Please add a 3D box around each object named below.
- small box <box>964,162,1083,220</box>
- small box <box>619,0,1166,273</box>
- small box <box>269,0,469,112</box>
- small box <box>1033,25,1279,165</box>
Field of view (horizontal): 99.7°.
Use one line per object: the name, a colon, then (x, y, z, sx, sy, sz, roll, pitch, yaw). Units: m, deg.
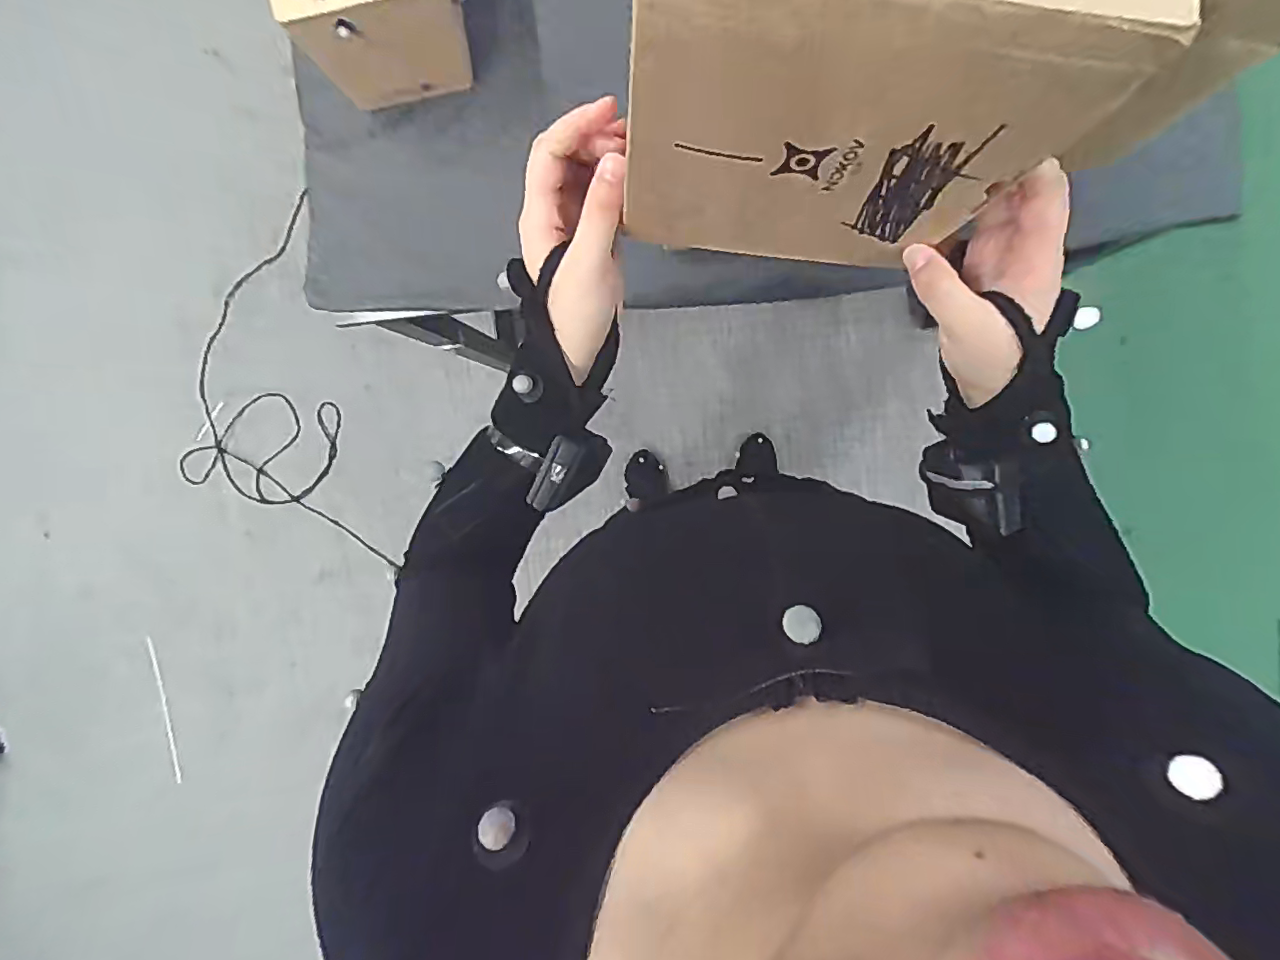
small box: (0.386, -0.419, 0.620, 0.168, 0.176, 0.179, -4, 93, 5)
small box: (0.086, -0.219, 0.249, 0.179, 0.168, 0.176, 6, 86, -3)
small box: (-0.326, -0.597, 0.657, 0.168, 0.176, 0.179, -9, 94, 4)
small box: (0.375, -0.394, 0.459, 0.179, 0.176, 0.168, 7, 94, 5)
